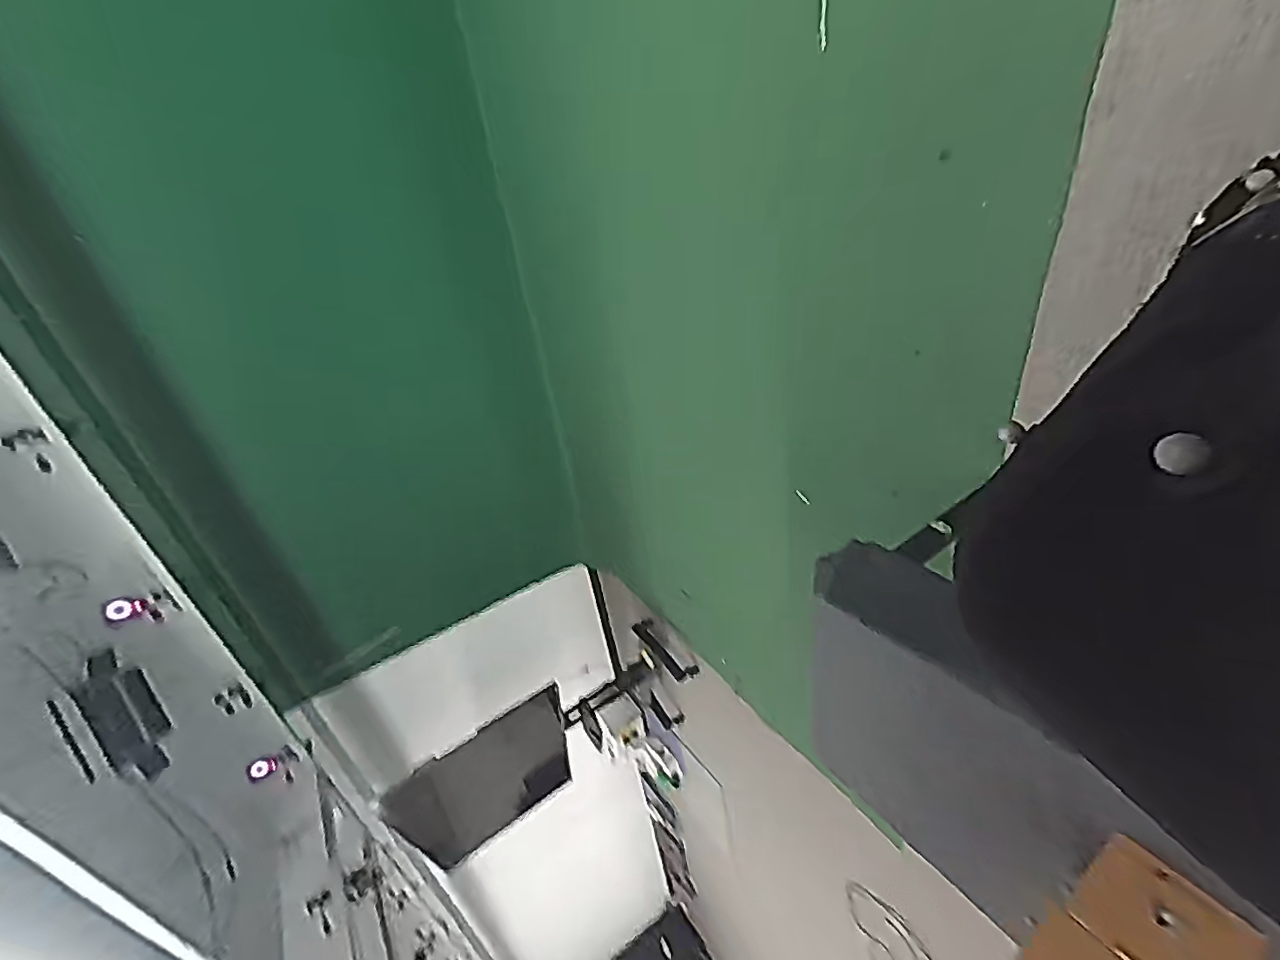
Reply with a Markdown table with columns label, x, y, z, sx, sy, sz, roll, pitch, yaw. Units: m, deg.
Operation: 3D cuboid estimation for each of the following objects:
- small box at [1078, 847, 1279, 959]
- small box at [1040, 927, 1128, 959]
| label | x | y | z | sx | sy | sz | roll | pitch | yaw |
| --- | --- | --- | --- | --- | --- | --- | --- | --- | --- |
| small box | 0.731 | 0.666 | 0.751 | 0.168 | 0.176 | 0.179 | 34 | 142 | 50 |
| small box | 0.590 | 0.725 | 0.688 | 0.179 | 0.176 | 0.168 | 32 | 141 | 49 |
